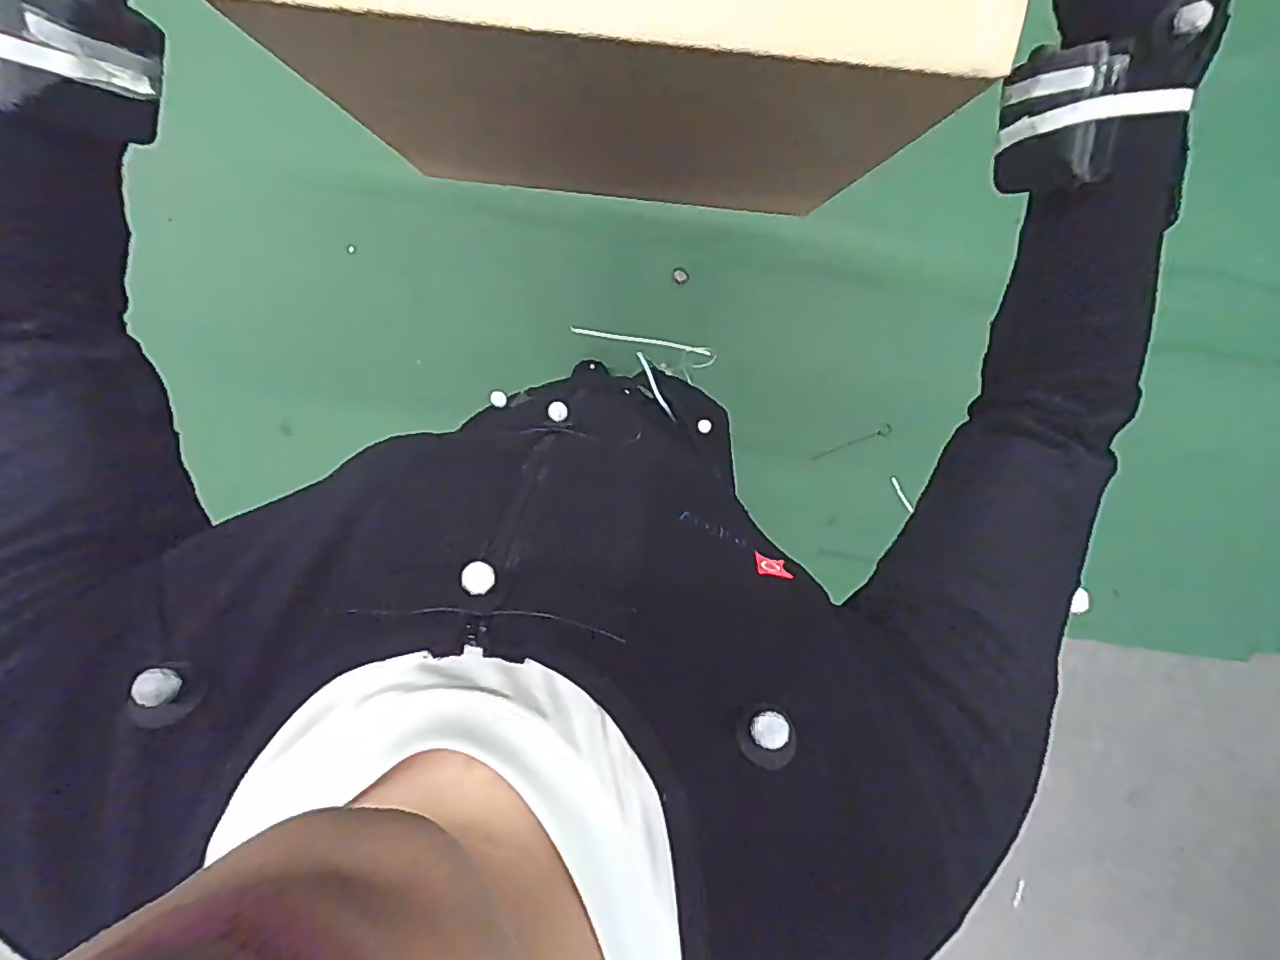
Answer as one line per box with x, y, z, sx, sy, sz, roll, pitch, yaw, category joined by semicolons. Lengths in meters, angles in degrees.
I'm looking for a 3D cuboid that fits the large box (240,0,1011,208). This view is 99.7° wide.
-0.003;-0.410;0.385;0.408;0.320;0.320;4;105;-2;large box
